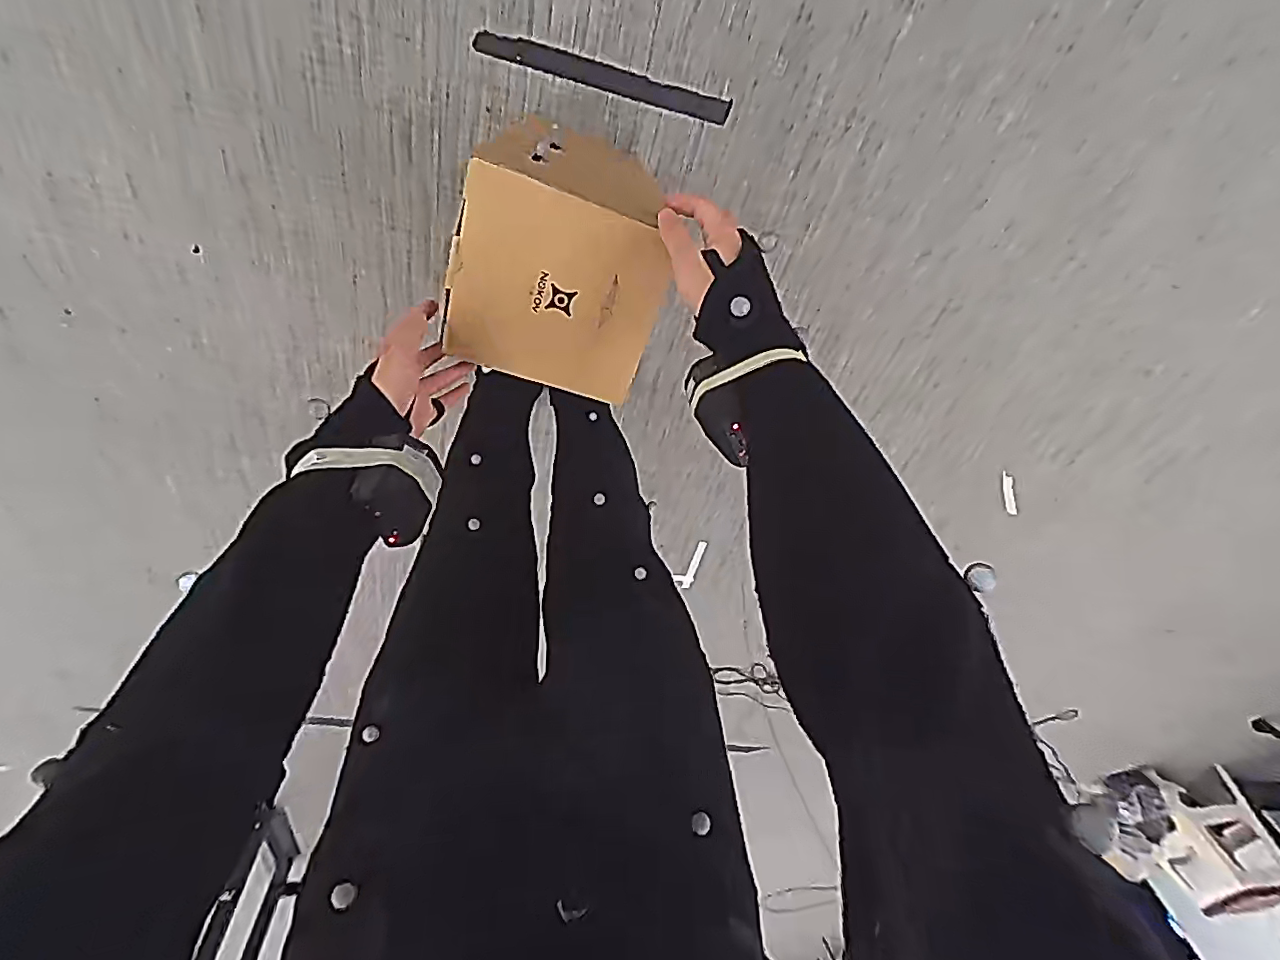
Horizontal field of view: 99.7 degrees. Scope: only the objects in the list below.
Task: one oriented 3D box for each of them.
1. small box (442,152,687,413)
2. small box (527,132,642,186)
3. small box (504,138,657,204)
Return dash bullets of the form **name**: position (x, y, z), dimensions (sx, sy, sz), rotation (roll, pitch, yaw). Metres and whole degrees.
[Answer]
- **small box**: position (-0.075, -0.196, 0.525), dimensions (0.179, 0.176, 0.168), rotation (14, 127, -16)
- **small box**: position (-0.100, -0.385, 0.791), dimensions (0.179, 0.176, 0.168), rotation (14, 126, -15)
- **small box**: position (-0.088, -0.289, 0.657), dimensions (0.179, 0.176, 0.168), rotation (17, 125, -17)
